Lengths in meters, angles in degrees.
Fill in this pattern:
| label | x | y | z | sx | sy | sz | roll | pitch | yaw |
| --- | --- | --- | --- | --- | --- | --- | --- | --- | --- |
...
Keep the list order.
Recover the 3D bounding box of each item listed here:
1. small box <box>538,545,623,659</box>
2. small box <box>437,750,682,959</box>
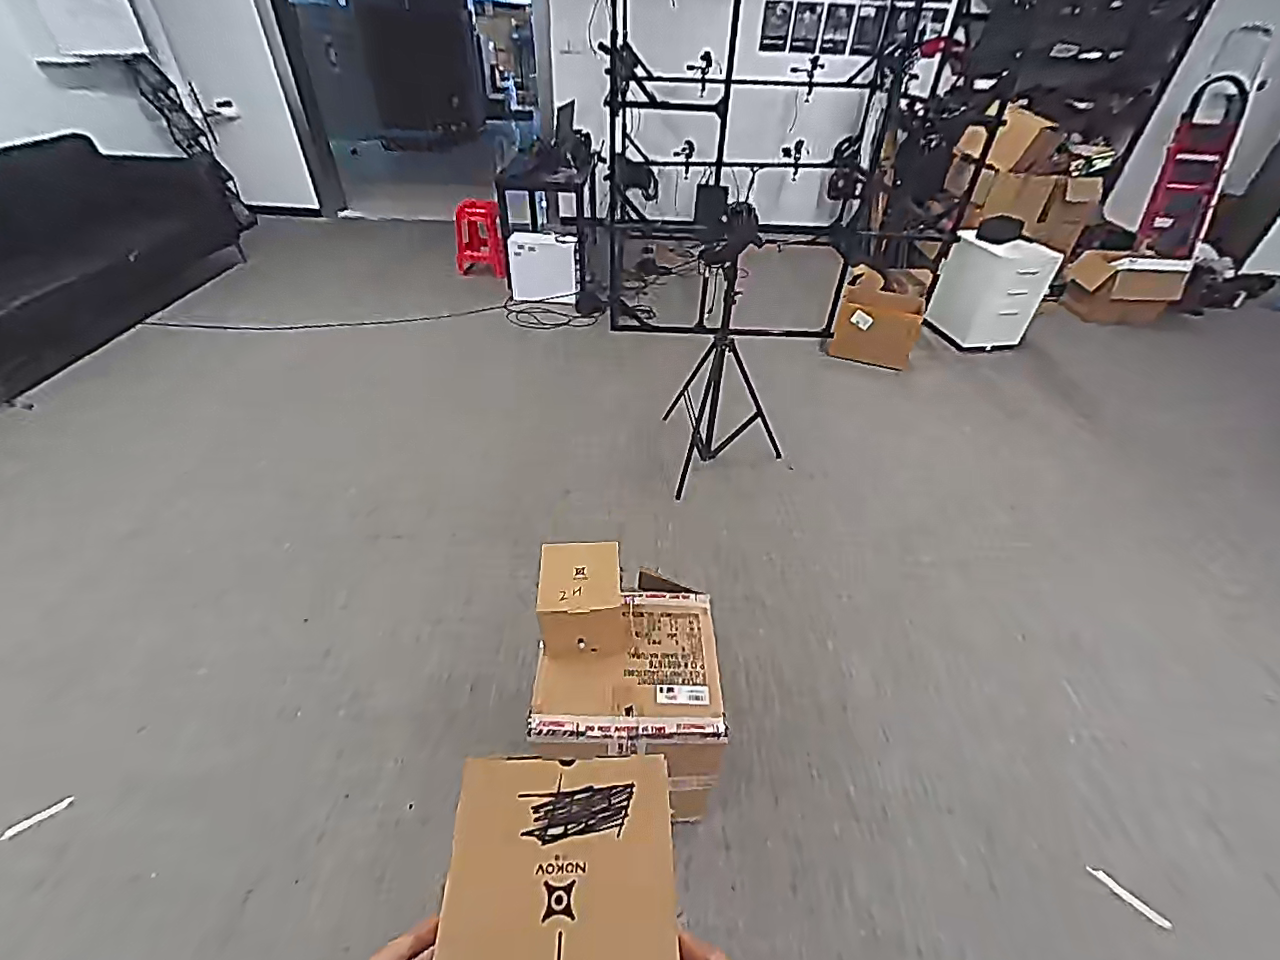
| label | x | y | z | sx | sy | sz | roll | pitch | yaw |
| --- | --- | --- | --- | --- | --- | --- | --- | --- | --- |
| small box | -0.121 | 0.260 | 1.158 | 0.168 | 0.176 | 0.179 | -3 | 43 | -2 |
| small box | -0.062 | 0.346 | 0.448 | 0.168 | 0.176 | 0.179 | 1 | 45 | -5 |
